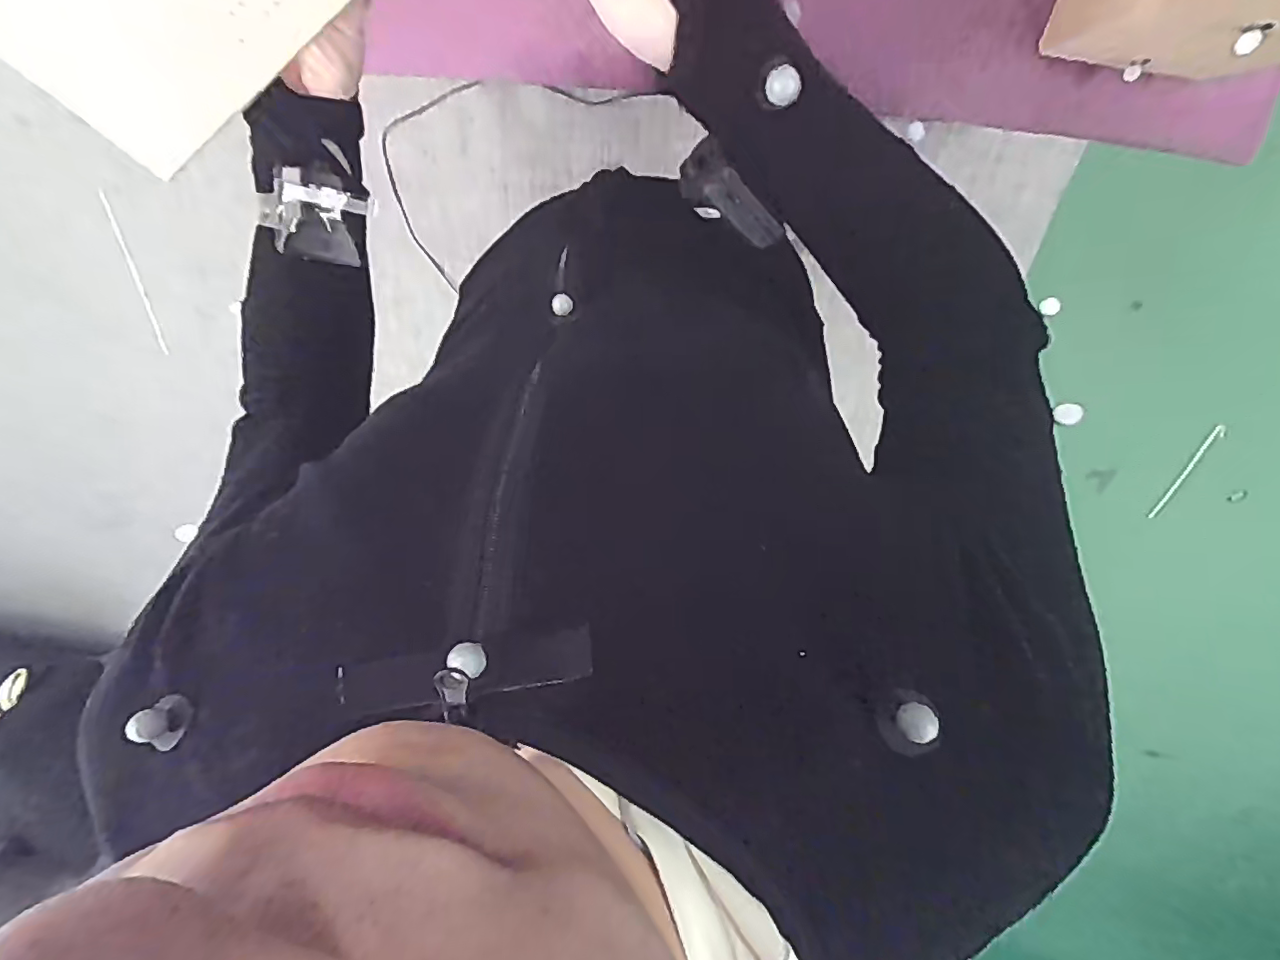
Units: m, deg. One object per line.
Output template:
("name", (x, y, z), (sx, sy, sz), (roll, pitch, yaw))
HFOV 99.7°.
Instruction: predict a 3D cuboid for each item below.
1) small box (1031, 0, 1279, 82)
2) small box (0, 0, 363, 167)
("small box", (0.512, -0.476, 0.484), (0.179, 0.176, 0.168), (11, 121, 2))
("small box", (-0.192, -0.273, 0.211), (0.179, 0.168, 0.176), (-12, 147, 28))
